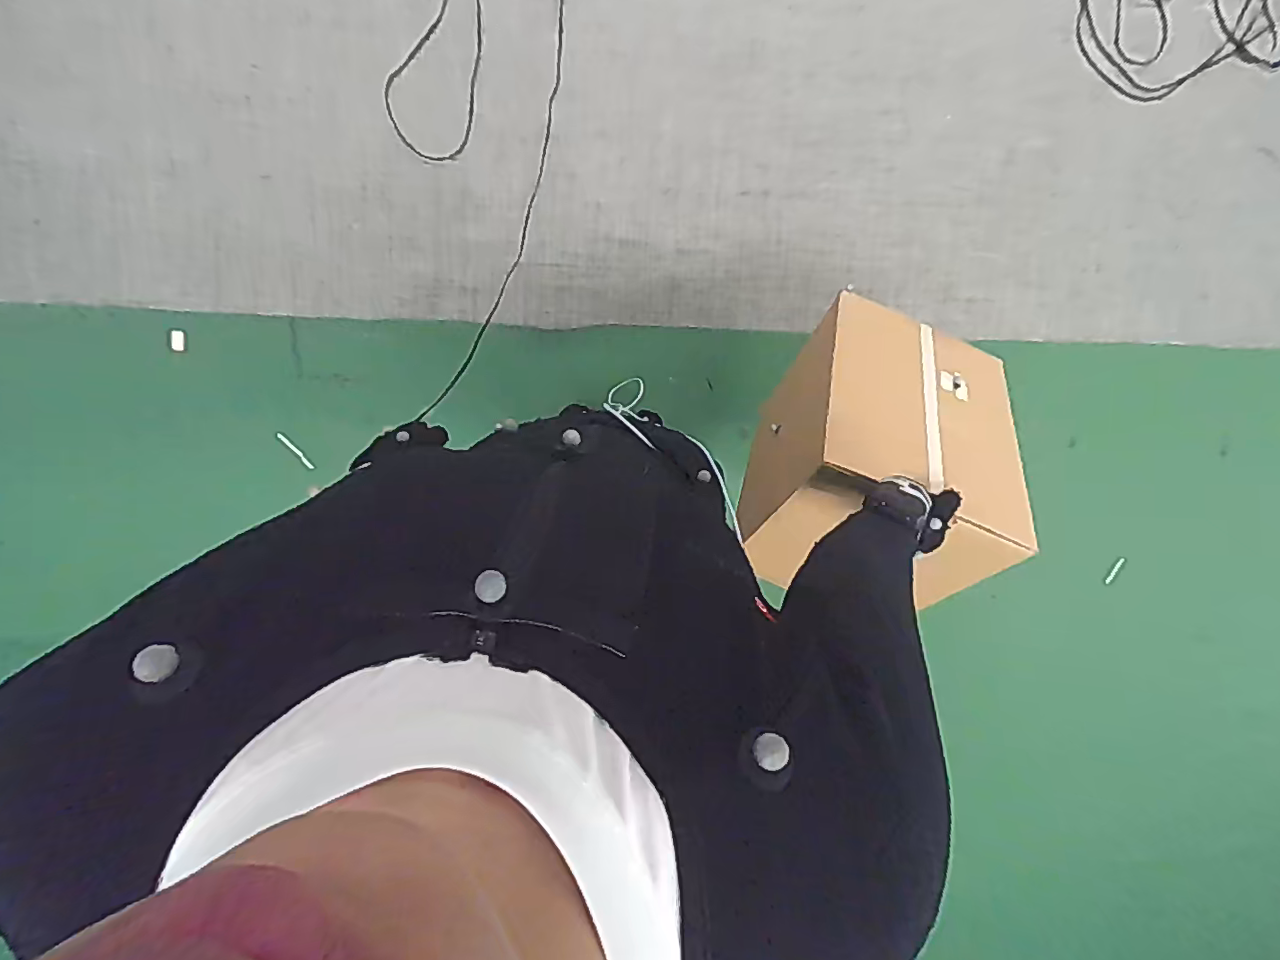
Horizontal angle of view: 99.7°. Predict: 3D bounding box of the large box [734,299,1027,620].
[{"bbox_3d":[0.388,-0.029,0.947,0.320,0.320,0.408,23,53,-4],"label":"large box"}]
